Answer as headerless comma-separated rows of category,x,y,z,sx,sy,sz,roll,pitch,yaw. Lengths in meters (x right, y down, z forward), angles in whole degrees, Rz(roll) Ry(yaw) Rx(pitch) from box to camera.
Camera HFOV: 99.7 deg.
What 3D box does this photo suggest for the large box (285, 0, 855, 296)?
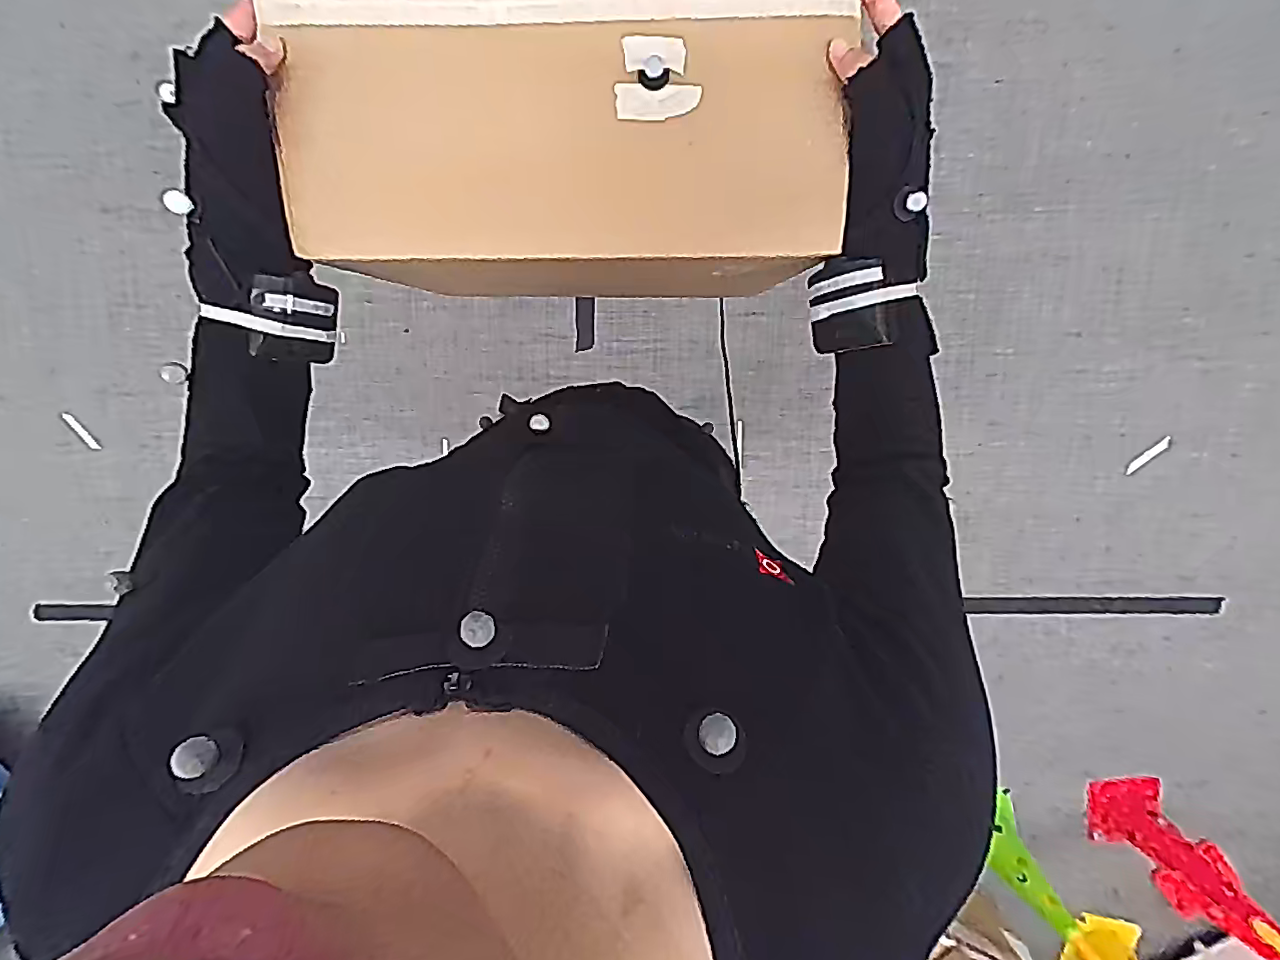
large box,-0.050,-0.359,0.519,0.408,0.320,0.320,0,103,0
